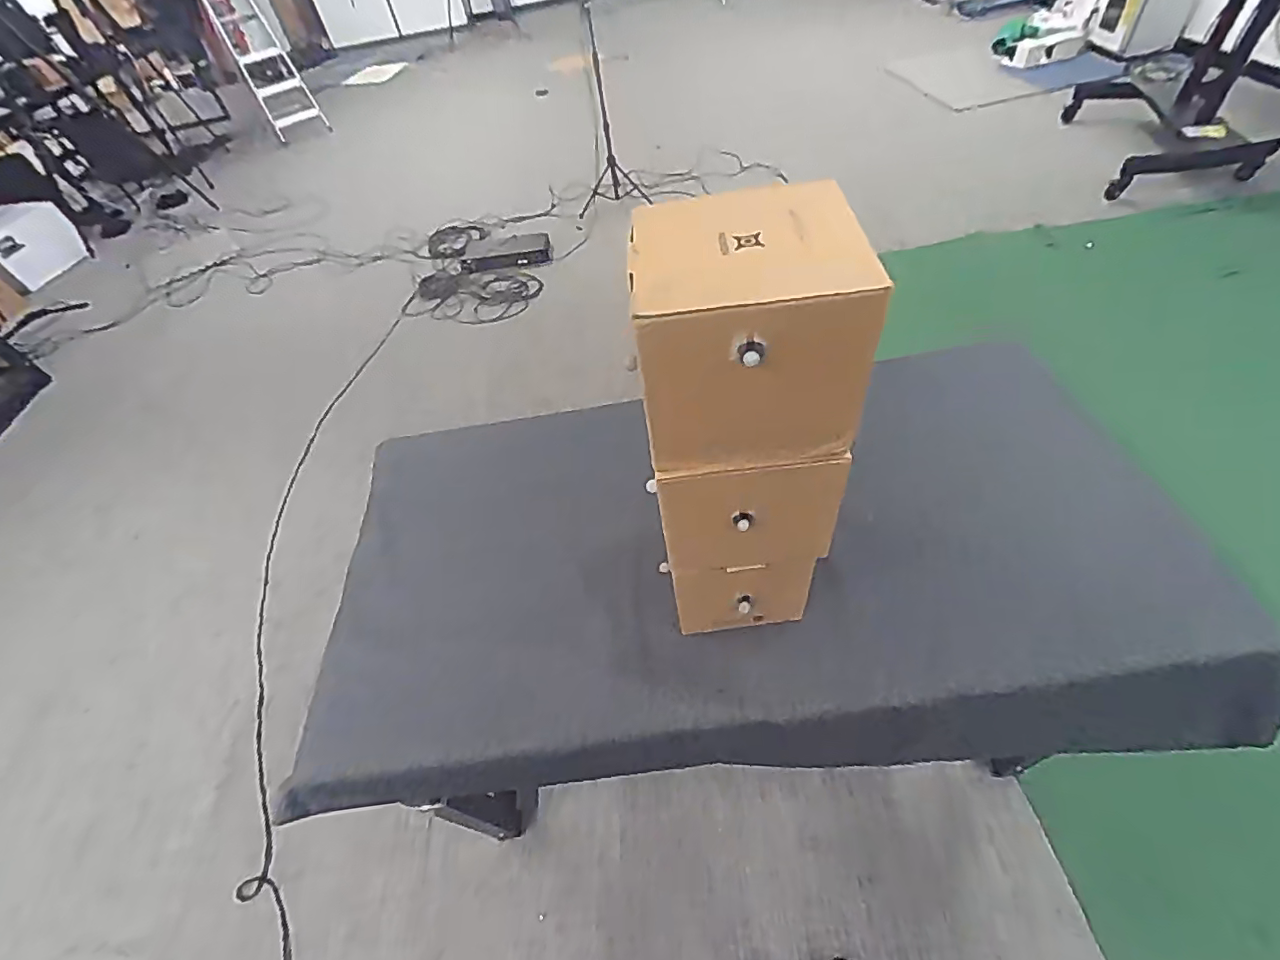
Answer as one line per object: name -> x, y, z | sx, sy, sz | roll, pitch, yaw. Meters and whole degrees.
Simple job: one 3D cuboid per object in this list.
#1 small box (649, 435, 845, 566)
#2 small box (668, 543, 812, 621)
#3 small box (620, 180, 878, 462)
small box -> 0.104, -0.022, 0.592 | 0.179, 0.176, 0.168 | -8, 50, 5
small box -> 0.120, 0.075, 0.724 | 0.168, 0.176, 0.179 | -10, 51, 3
small box -> 0.082, -0.130, 0.473 | 0.179, 0.176, 0.168 | -6, 51, 5
